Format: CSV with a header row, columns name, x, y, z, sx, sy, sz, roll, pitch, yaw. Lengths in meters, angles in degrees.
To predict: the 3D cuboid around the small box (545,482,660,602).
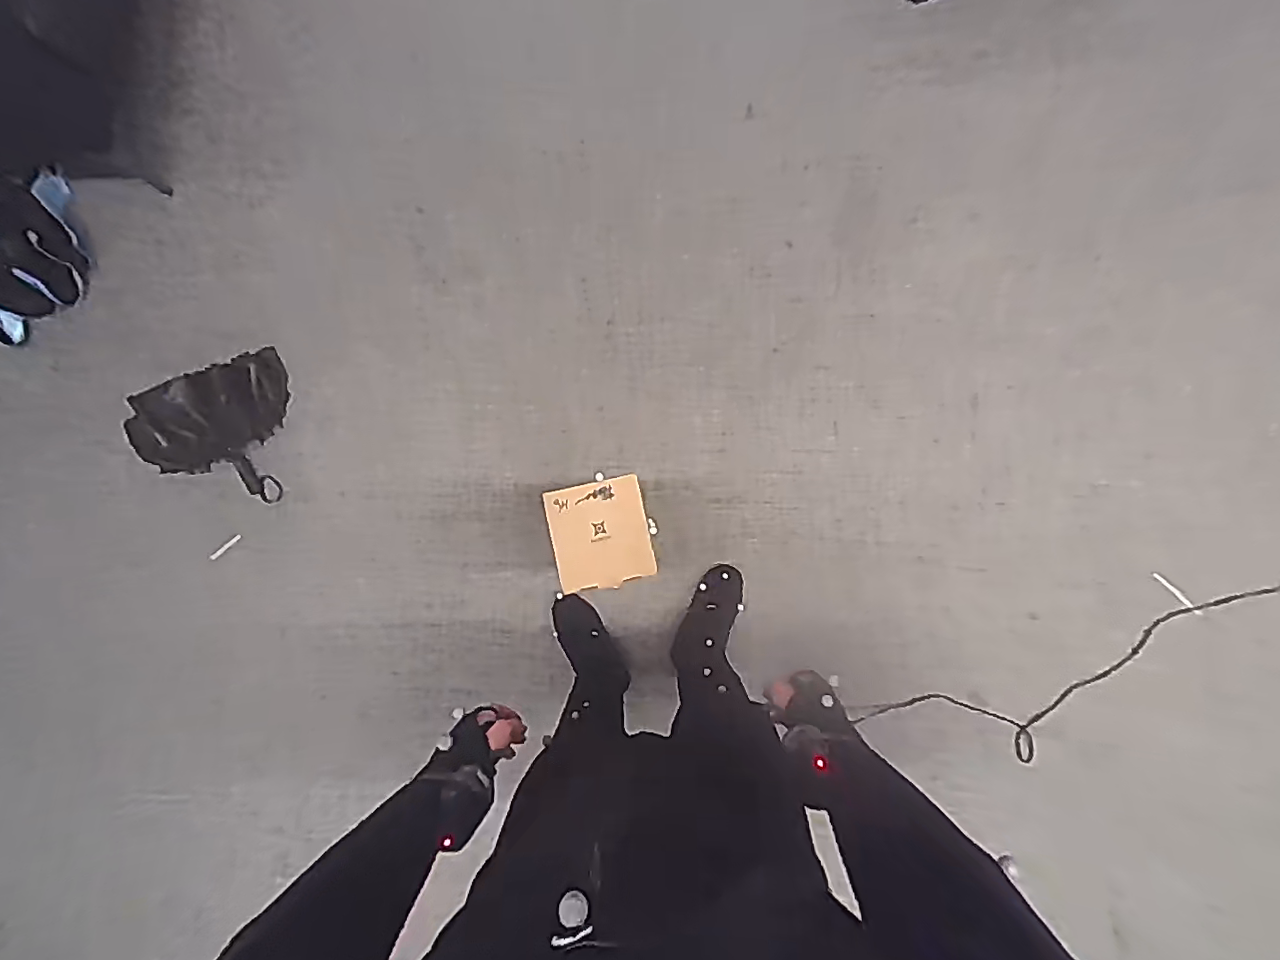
name,x,y,z,sx,sy,sz,roll,pitch,yaw
small box,-0.060,0.107,0.981,0.168,0.176,0.179,-13,86,2
